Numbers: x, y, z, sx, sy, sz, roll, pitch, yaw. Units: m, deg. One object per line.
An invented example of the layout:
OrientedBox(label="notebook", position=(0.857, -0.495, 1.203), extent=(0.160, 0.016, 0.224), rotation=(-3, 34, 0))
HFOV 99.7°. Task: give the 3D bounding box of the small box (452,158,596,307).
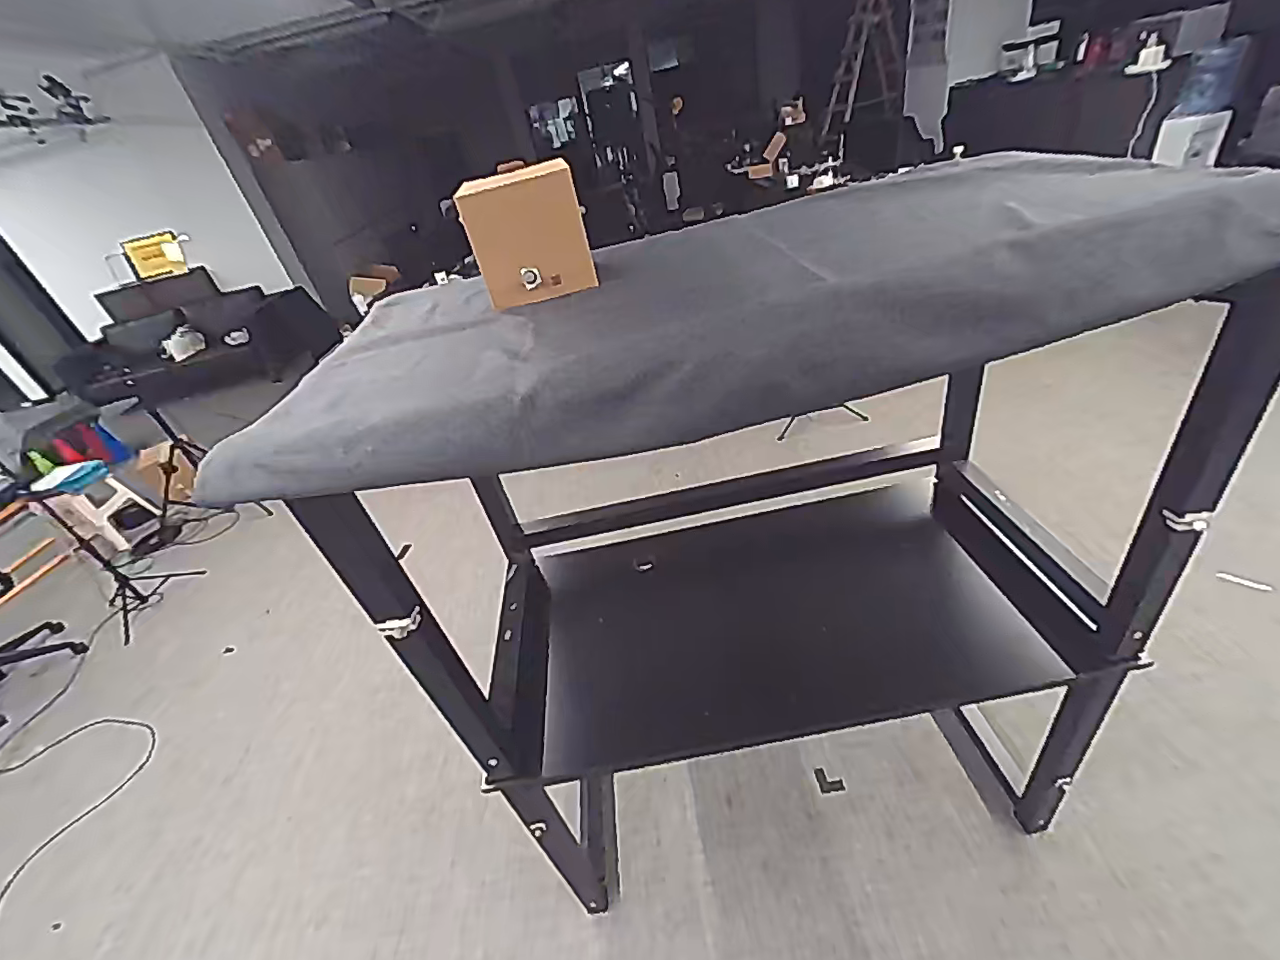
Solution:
OrientedBox(label="small box", position=(-0.173, -0.386, 0.844), extent=(0.168, 0.176, 0.179), rotation=(-16, 35, -2))
